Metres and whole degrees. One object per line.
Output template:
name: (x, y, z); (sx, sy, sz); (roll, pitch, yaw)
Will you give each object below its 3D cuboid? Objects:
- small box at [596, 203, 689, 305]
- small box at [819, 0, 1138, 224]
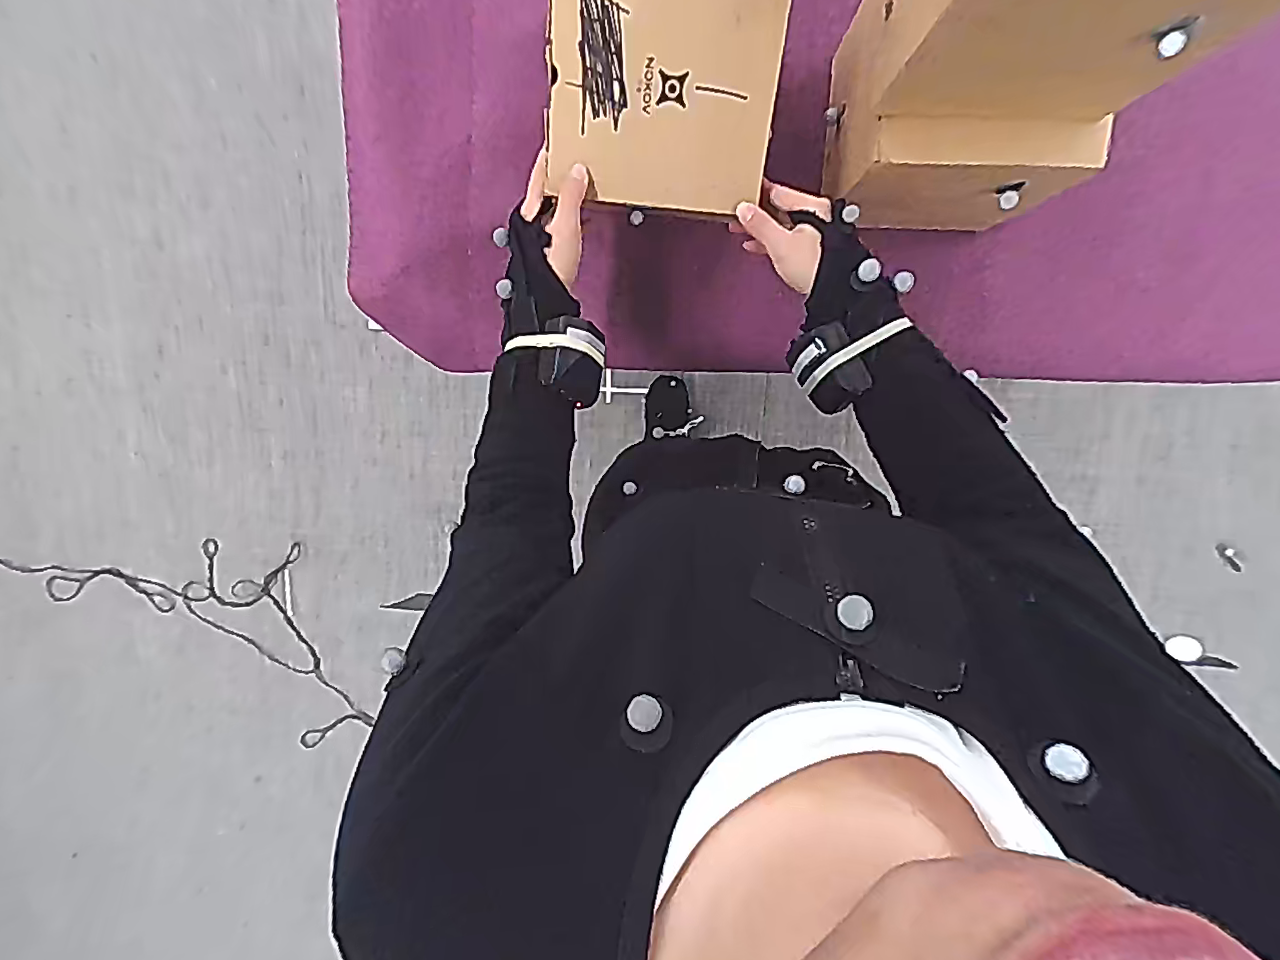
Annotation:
small box: (0.006, -0.454, 1.106); (0.179, 0.176, 0.168); (2, 102, 3)
small box: (0.277, -0.340, 0.478); (0.179, 0.176, 0.168); (3, 99, 2)
